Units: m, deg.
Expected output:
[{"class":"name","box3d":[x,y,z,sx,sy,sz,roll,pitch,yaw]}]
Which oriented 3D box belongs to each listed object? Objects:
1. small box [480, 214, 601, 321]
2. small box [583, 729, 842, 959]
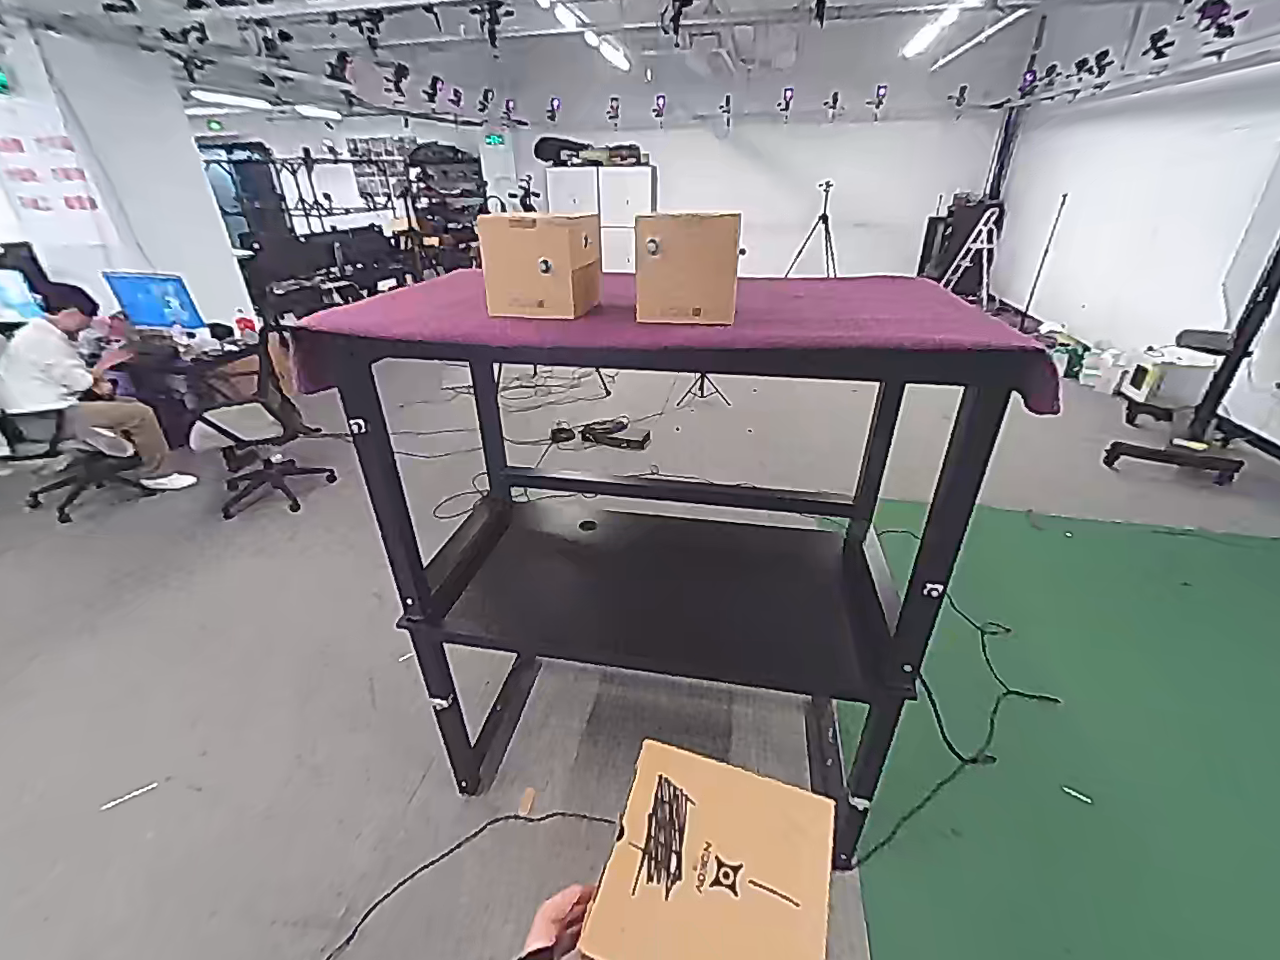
[{"class":"small box","box3d":[-0.172,-0.395,1.000,0.168,0.176,0.179,7,28,11]},{"class":"small box","box3d":[0.068,0.362,0.481,0.179,0.176,0.168,12,43,16]}]
